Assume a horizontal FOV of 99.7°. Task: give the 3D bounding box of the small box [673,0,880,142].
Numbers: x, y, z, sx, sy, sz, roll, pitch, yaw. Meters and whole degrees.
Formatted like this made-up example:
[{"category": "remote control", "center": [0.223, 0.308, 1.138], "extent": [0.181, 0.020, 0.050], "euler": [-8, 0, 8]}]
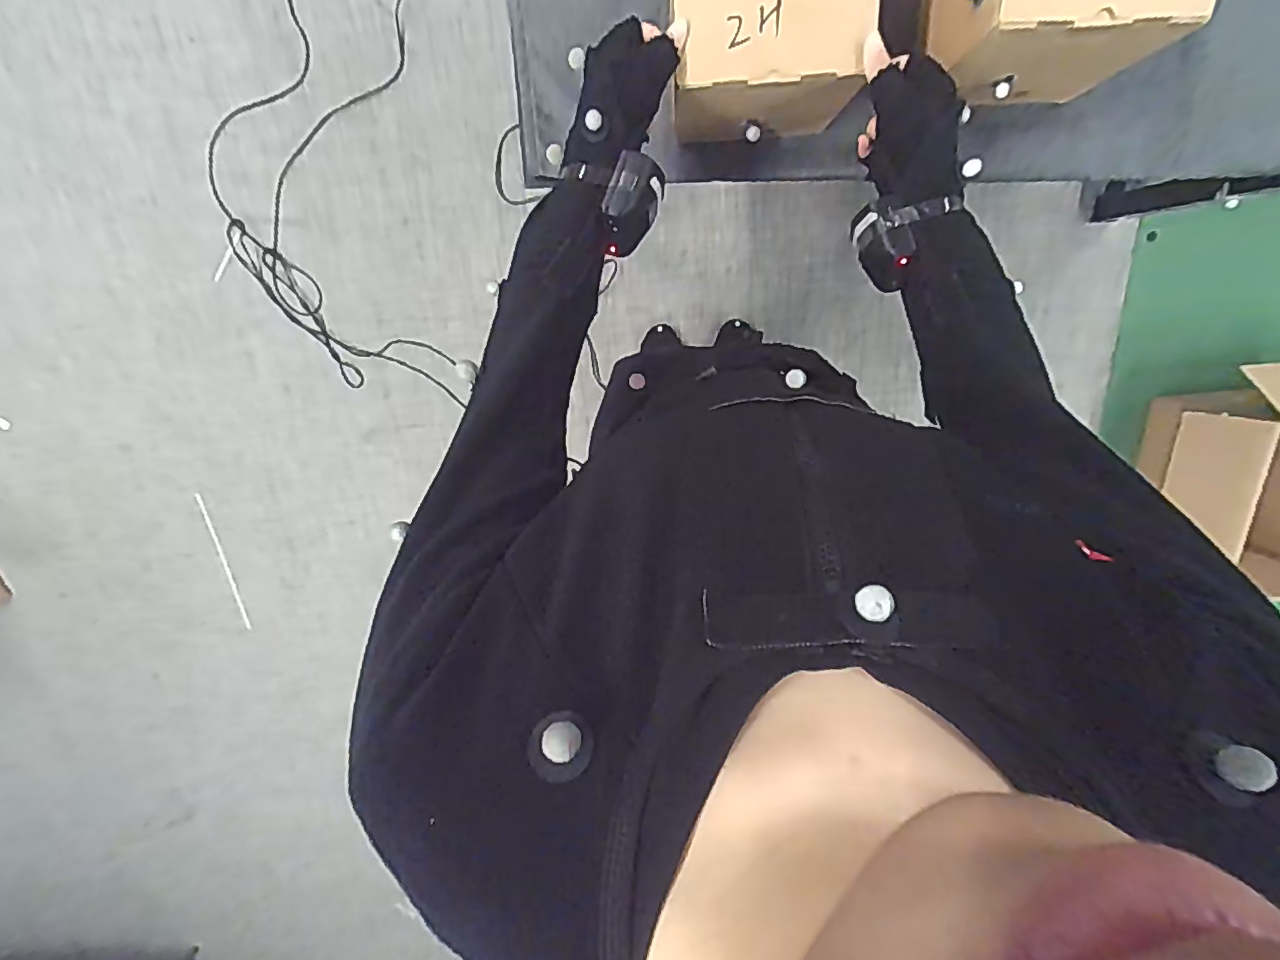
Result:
[{"category": "small box", "center": [0.115, -0.444, 0.507], "extent": [0.168, 0.176, 0.179], "euler": [-2, 108, 4]}]
